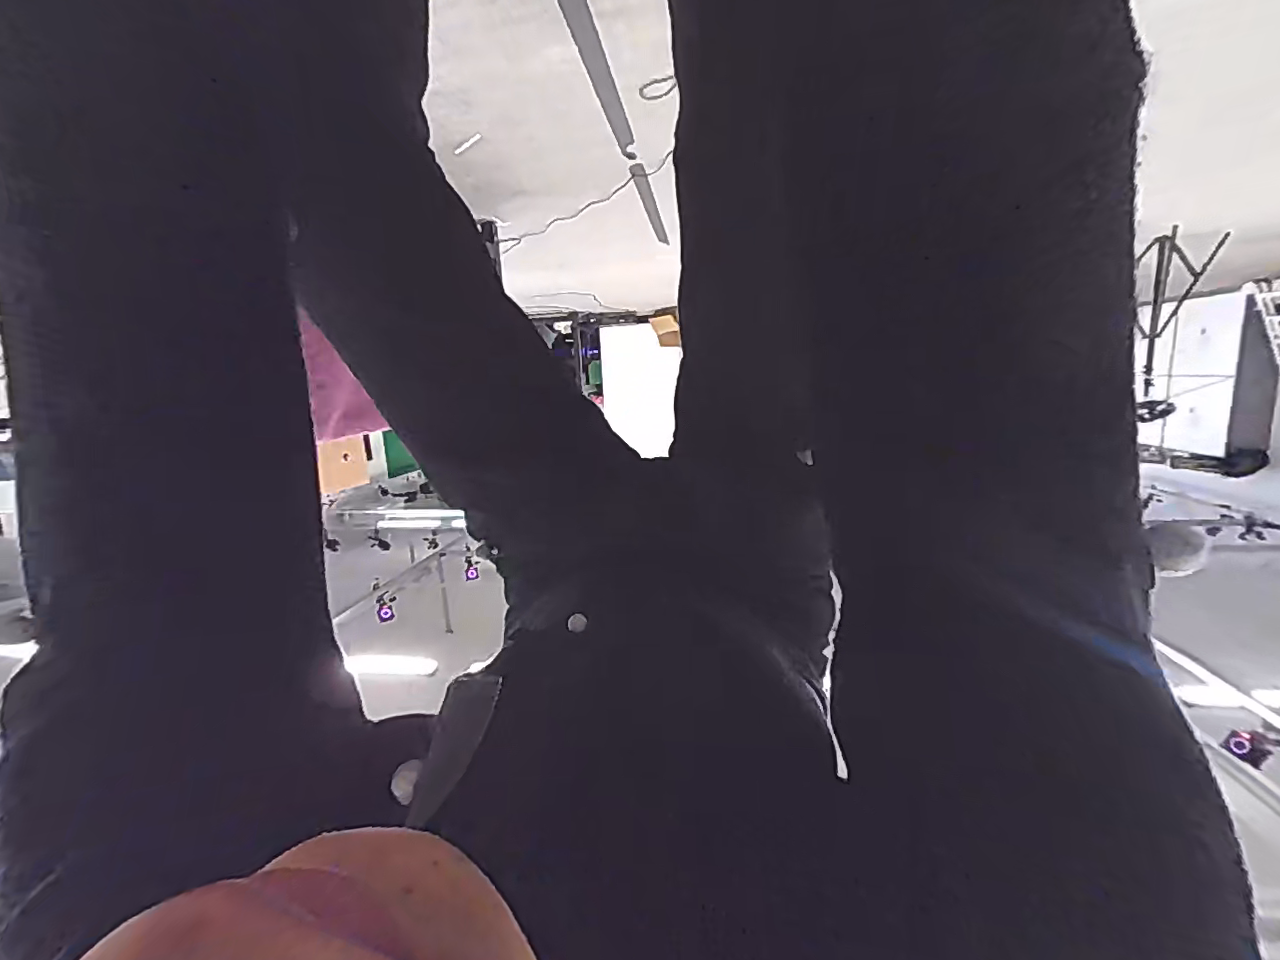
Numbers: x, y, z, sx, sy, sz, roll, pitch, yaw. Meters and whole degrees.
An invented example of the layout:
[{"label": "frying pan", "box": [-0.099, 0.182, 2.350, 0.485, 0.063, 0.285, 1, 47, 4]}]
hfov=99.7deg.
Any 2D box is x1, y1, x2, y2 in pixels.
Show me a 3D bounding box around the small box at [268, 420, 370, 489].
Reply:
[{"label": "small box", "box": [-0.900, -0.076, 1.515, 0.179, 0.176, 0.168, 0, -168, 15]}]
